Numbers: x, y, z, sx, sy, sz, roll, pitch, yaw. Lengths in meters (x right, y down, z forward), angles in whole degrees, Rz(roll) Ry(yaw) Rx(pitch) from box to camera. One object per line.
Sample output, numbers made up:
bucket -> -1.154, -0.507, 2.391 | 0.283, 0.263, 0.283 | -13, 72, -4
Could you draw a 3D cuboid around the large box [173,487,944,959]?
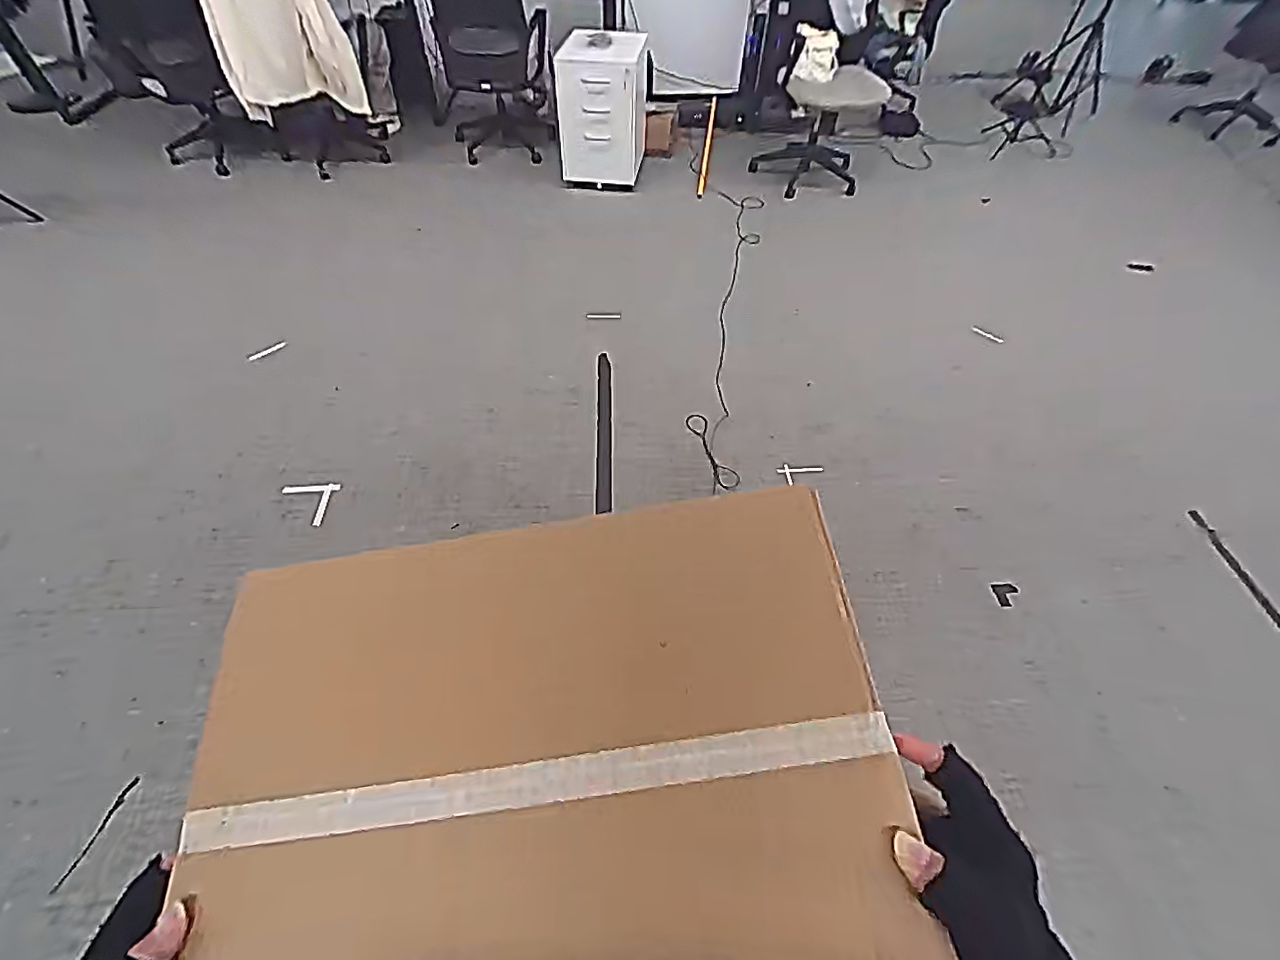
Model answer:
large box -> -0.045, 0.238, 0.445 | 0.408, 0.320, 0.320 | -10, 62, 3
